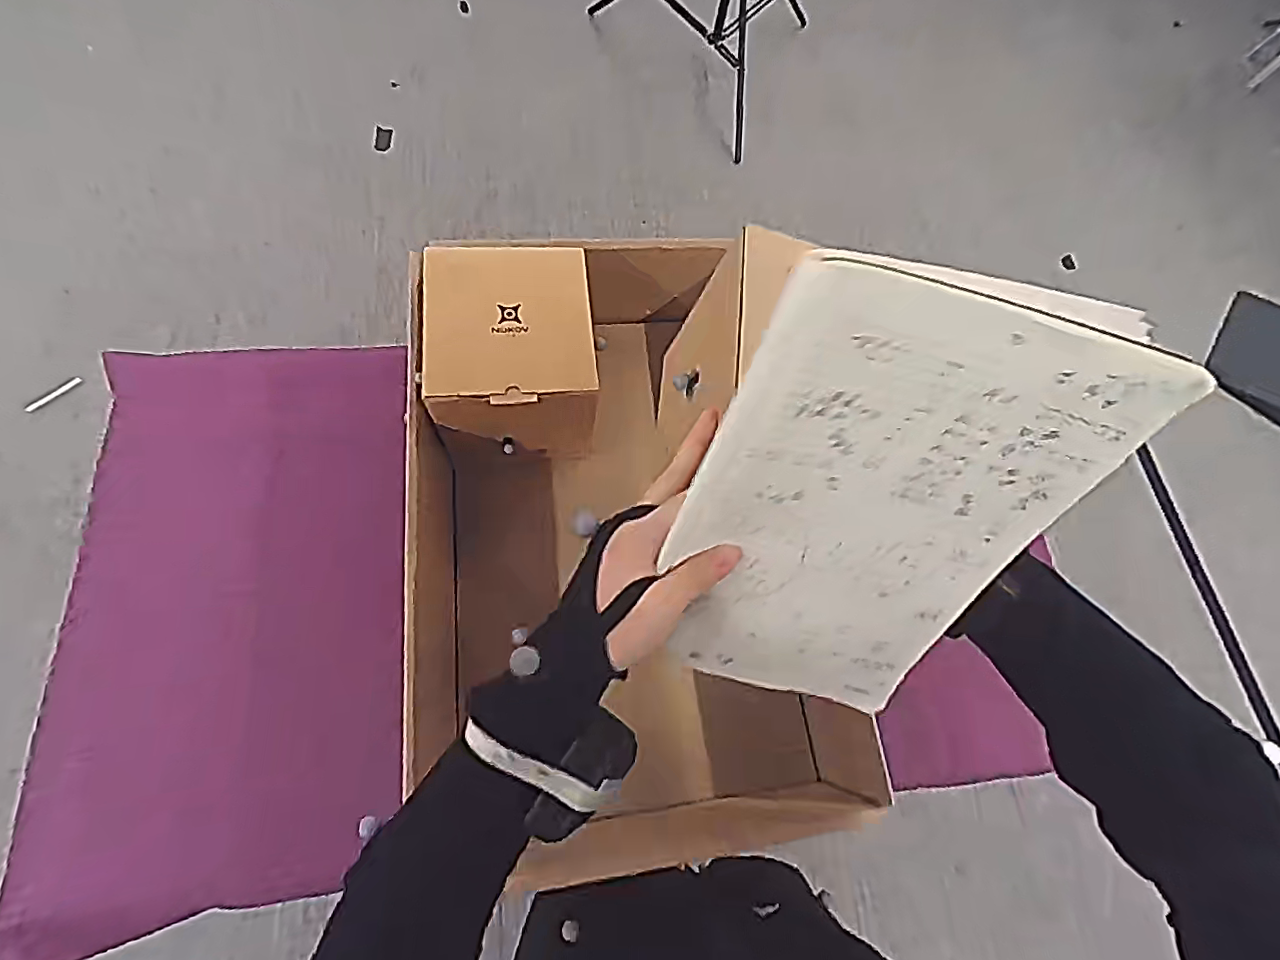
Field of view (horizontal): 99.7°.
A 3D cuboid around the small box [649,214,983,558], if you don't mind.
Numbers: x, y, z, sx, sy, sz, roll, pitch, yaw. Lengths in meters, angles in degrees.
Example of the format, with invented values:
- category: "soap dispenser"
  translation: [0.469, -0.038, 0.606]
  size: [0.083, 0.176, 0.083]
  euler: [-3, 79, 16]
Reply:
- category: "small box"
  translation: [0.110, -0.048, 0.400]
  size: [0.168, 0.176, 0.179]
  euler: [11, 69, -13]
